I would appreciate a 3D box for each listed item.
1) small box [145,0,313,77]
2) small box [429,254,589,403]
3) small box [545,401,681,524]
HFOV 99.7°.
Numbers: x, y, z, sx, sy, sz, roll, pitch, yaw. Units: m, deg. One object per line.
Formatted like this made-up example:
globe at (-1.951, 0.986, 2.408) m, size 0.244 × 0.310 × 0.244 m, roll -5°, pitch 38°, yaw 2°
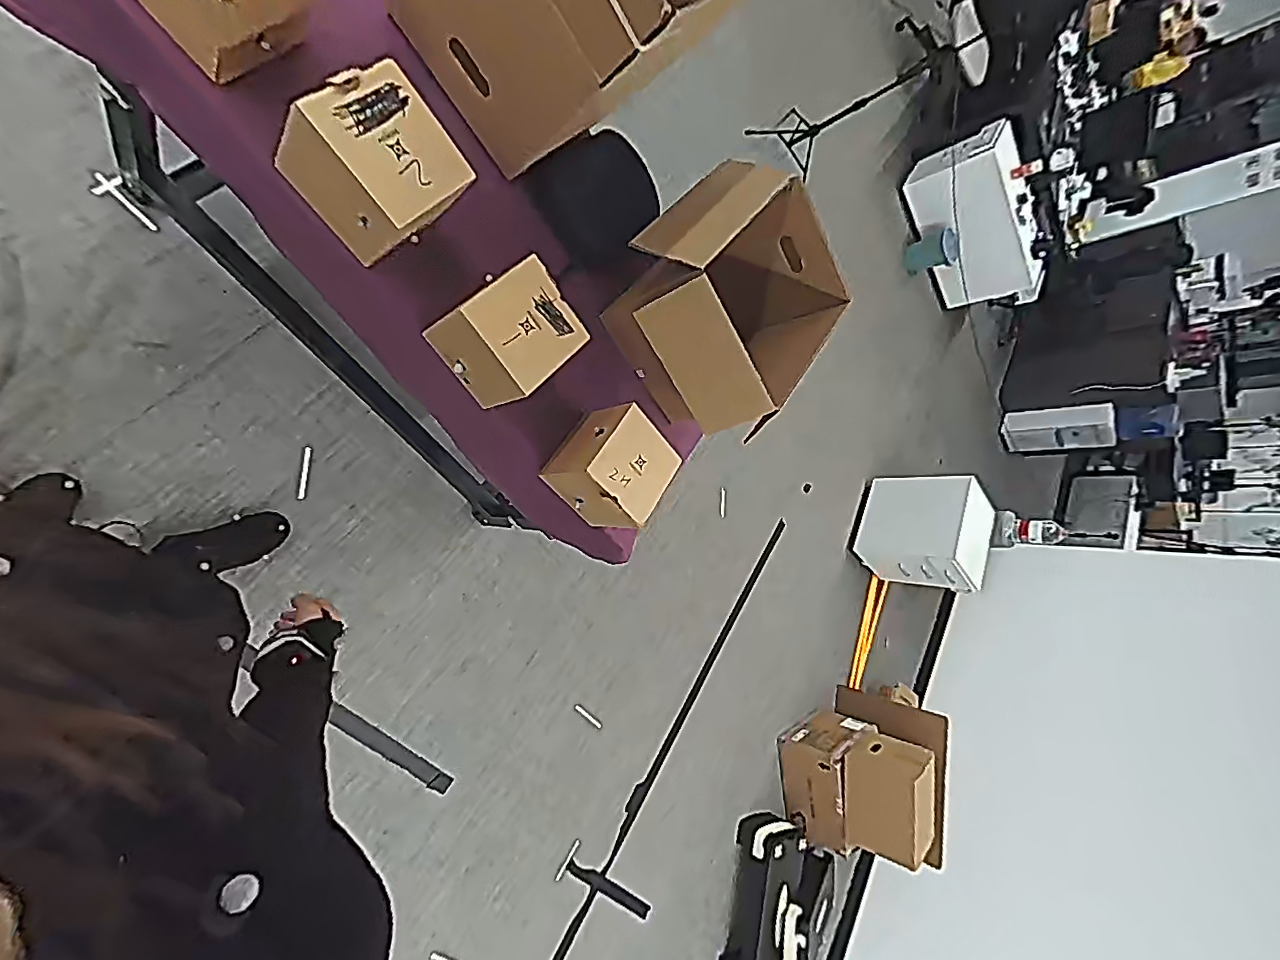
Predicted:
small box at (-0.545, -0.669, 0.681) m, size 0.179 × 0.176 × 0.168 m, roll 49°, pitch 60°, yaw -30°
small box at (-0.229, -0.253, 0.935) m, size 0.179 × 0.176 × 0.168 m, roll -51°, pitch 119°, yaw -29°
small box at (-0.056, -0.031, 1.073) m, size 0.168 × 0.176 × 0.179 m, roll 48°, pitch 60°, yaw -27°
